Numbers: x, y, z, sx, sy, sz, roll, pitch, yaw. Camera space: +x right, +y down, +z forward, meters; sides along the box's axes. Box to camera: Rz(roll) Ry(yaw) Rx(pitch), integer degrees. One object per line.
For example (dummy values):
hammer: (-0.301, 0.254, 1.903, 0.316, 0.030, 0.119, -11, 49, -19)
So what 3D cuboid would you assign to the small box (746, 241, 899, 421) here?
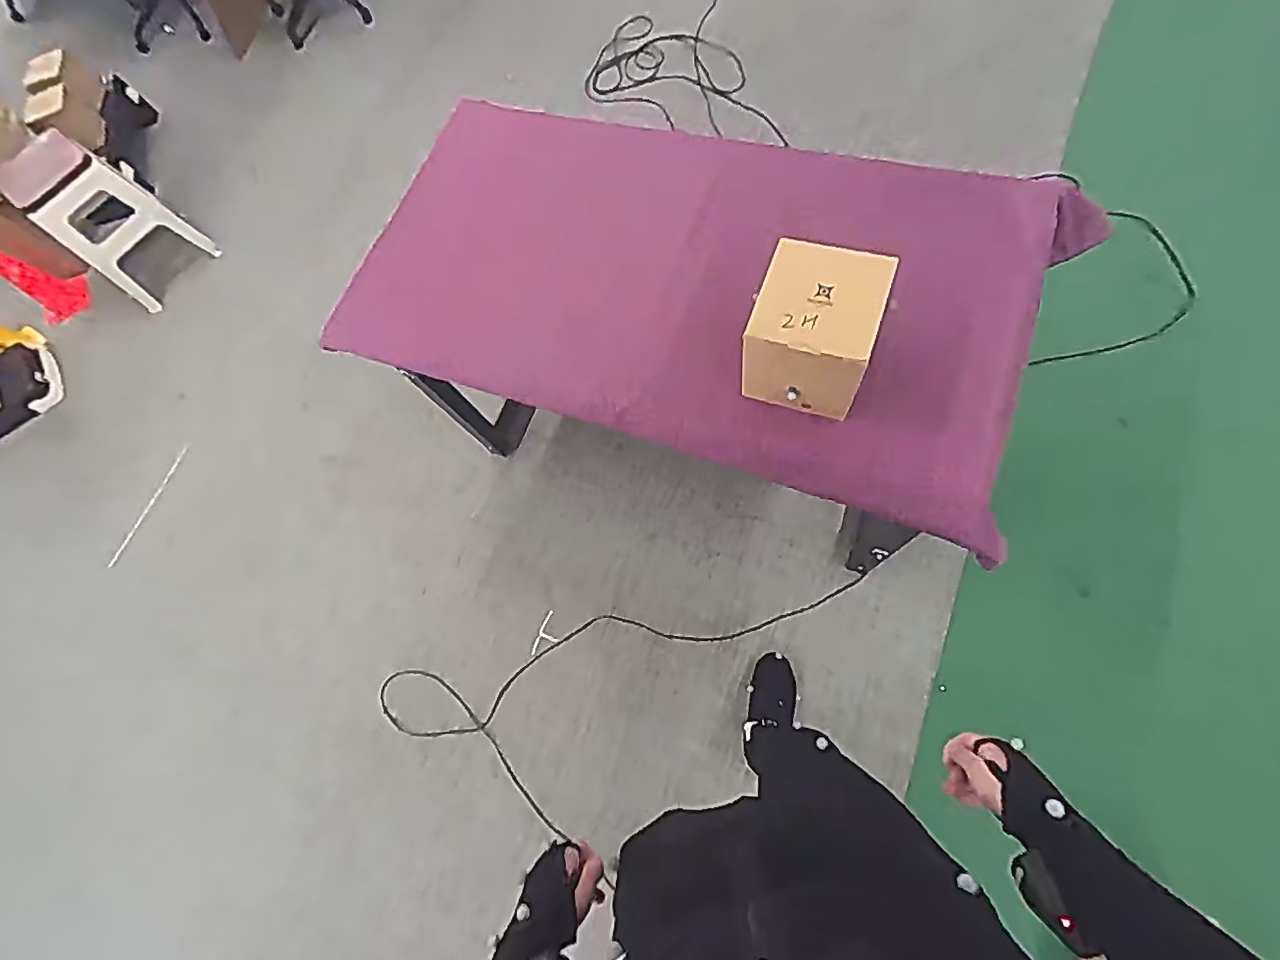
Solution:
small box: (0.260, -0.216, 0.807, 0.168, 0.176, 0.179, 19, 74, 16)
